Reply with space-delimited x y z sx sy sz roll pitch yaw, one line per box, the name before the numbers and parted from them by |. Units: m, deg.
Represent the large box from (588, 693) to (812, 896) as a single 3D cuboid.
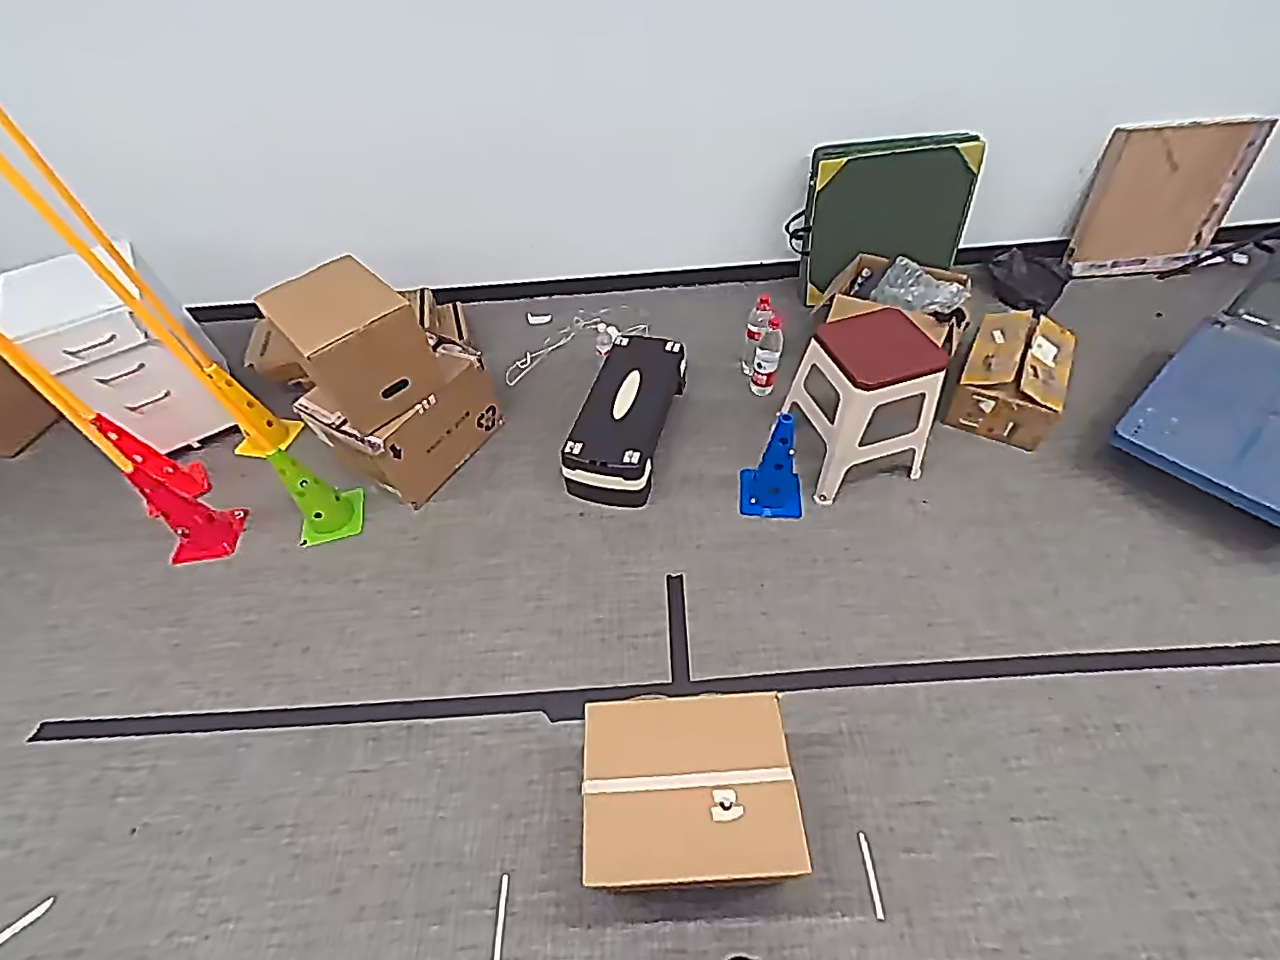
large box | 0.102 0.675 1.155 0.408 0.320 0.320 -4 51 0
